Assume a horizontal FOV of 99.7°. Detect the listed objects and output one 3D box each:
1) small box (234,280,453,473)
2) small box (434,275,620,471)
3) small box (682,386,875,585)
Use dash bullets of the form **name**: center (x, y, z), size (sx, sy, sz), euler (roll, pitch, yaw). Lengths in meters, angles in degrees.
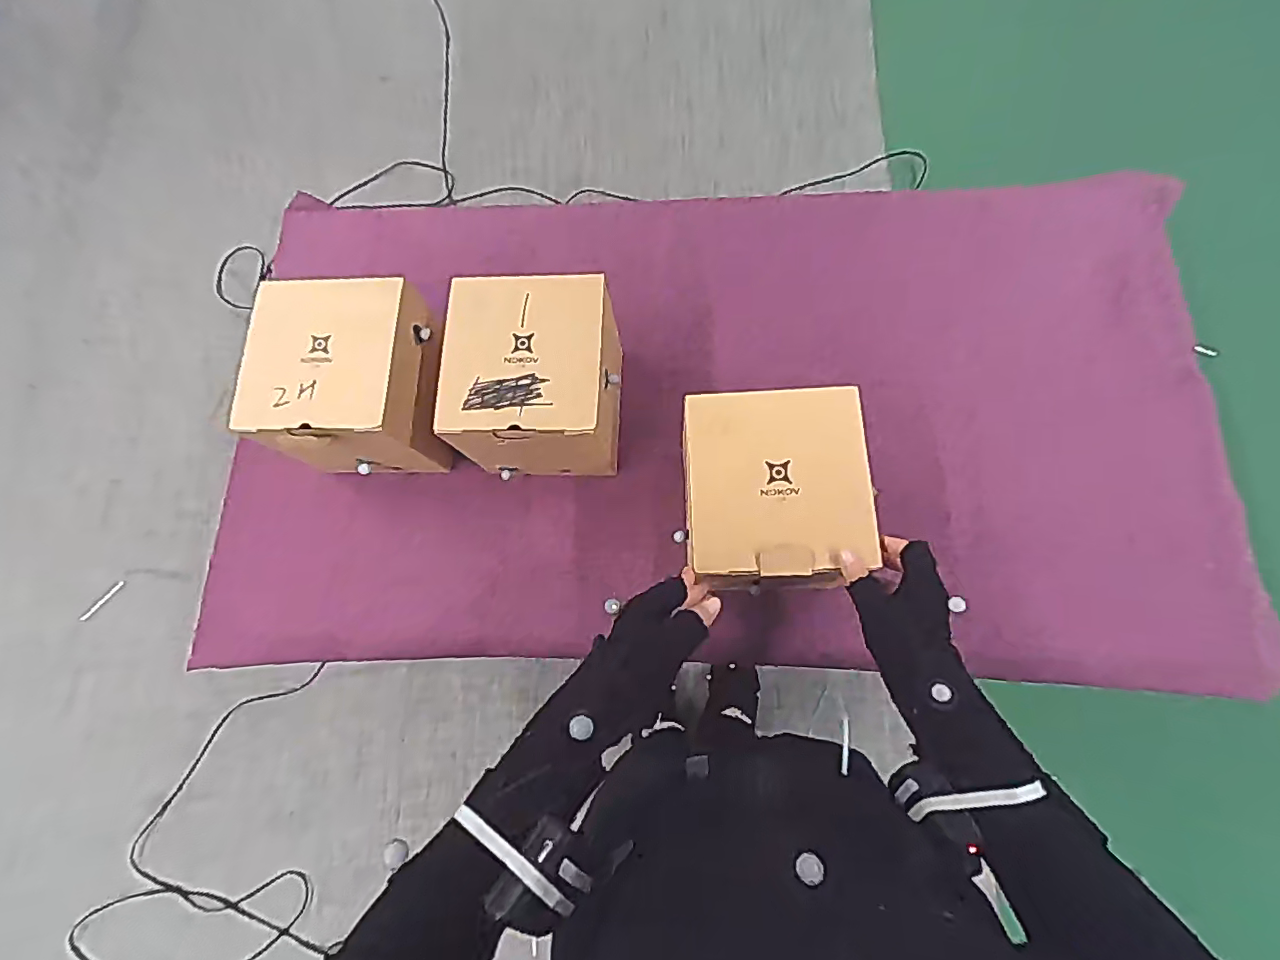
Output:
- **small box**: center (-0.329, -0.114, 0.647), size (0.168, 0.176, 0.179), euler (0, 77, 5)
- **small box**: center (-0.116, -0.111, 0.629), size (0.168, 0.176, 0.179), euler (0, 76, 5)
- **small box**: center (0.130, 0.016, 0.576), size (0.168, 0.176, 0.179), euler (-2, 75, 4)
